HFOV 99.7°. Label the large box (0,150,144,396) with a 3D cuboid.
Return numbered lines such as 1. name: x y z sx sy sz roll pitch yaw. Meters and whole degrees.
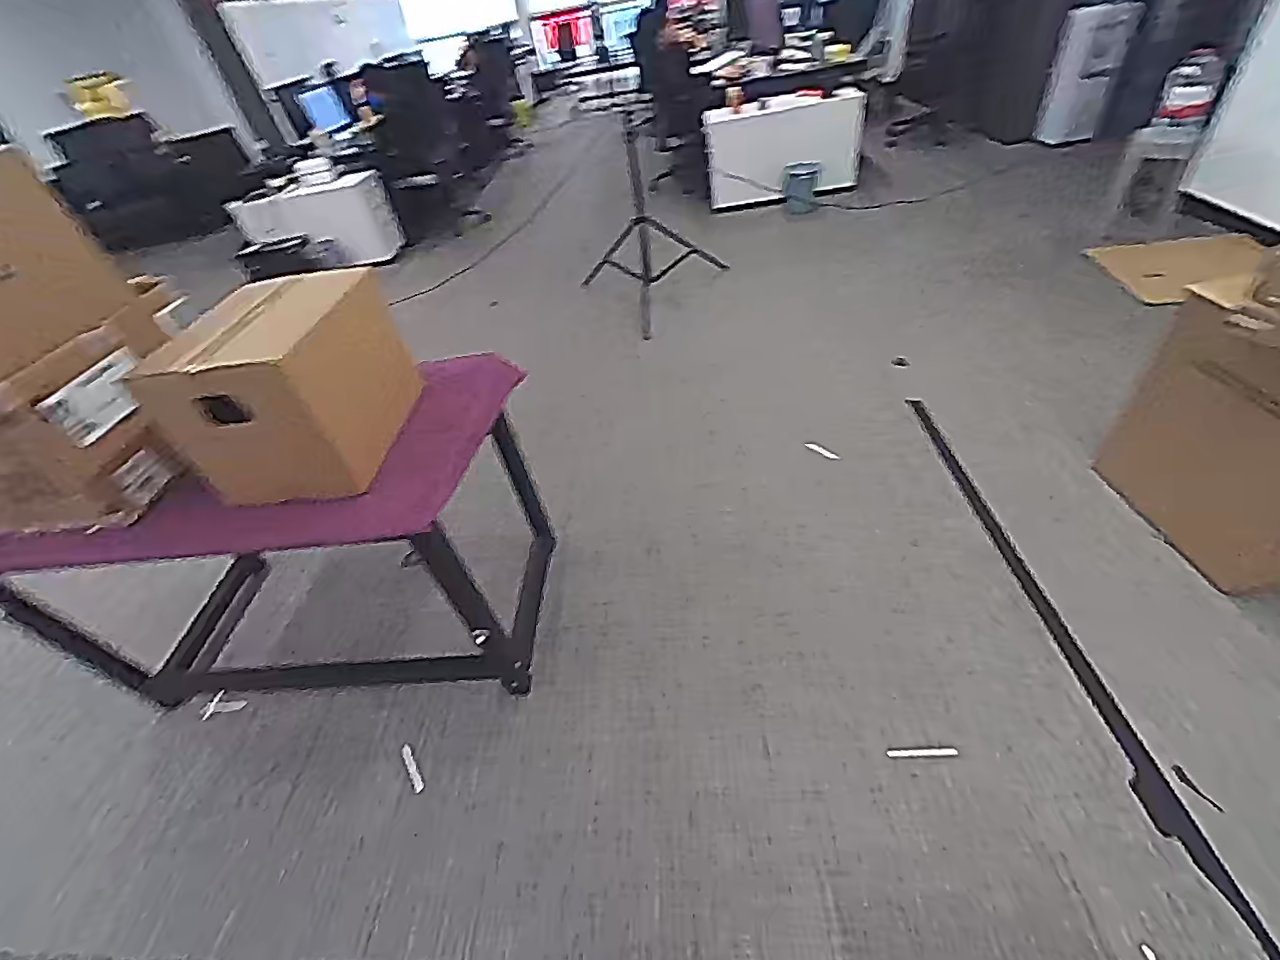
1. large box: -1.294 -0.372 1.006 0.320 0.320 0.408 -7 43 8
